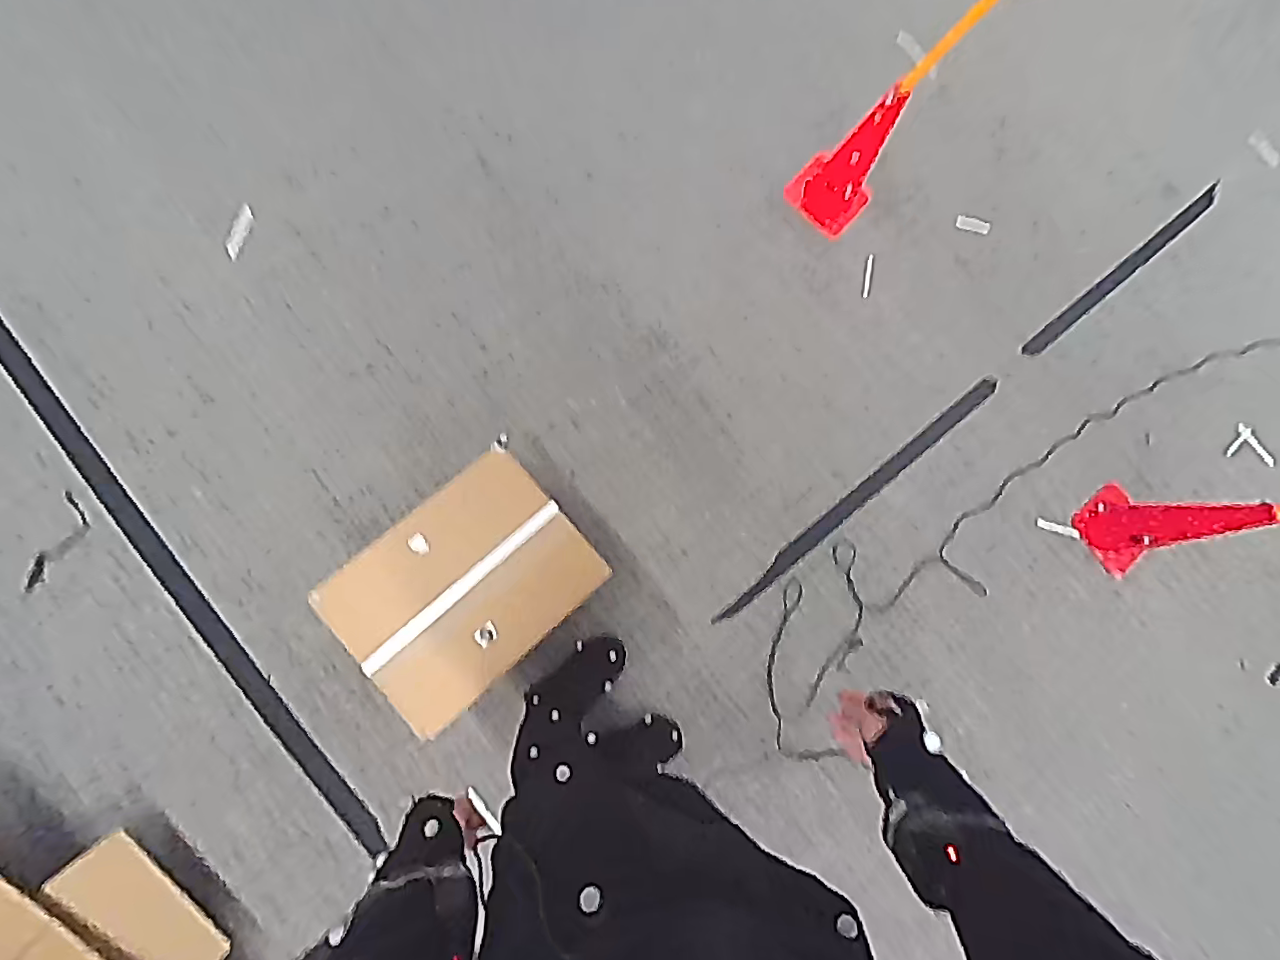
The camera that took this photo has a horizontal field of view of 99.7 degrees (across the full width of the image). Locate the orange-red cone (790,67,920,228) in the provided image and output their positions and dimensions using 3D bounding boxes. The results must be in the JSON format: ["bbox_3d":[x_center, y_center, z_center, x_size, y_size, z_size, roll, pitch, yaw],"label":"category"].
[{"bbox_3d":[0.558,-0.842,1.330,0.199,0.360,0.198,43,77,1],"label":"orange-red cone"}]
